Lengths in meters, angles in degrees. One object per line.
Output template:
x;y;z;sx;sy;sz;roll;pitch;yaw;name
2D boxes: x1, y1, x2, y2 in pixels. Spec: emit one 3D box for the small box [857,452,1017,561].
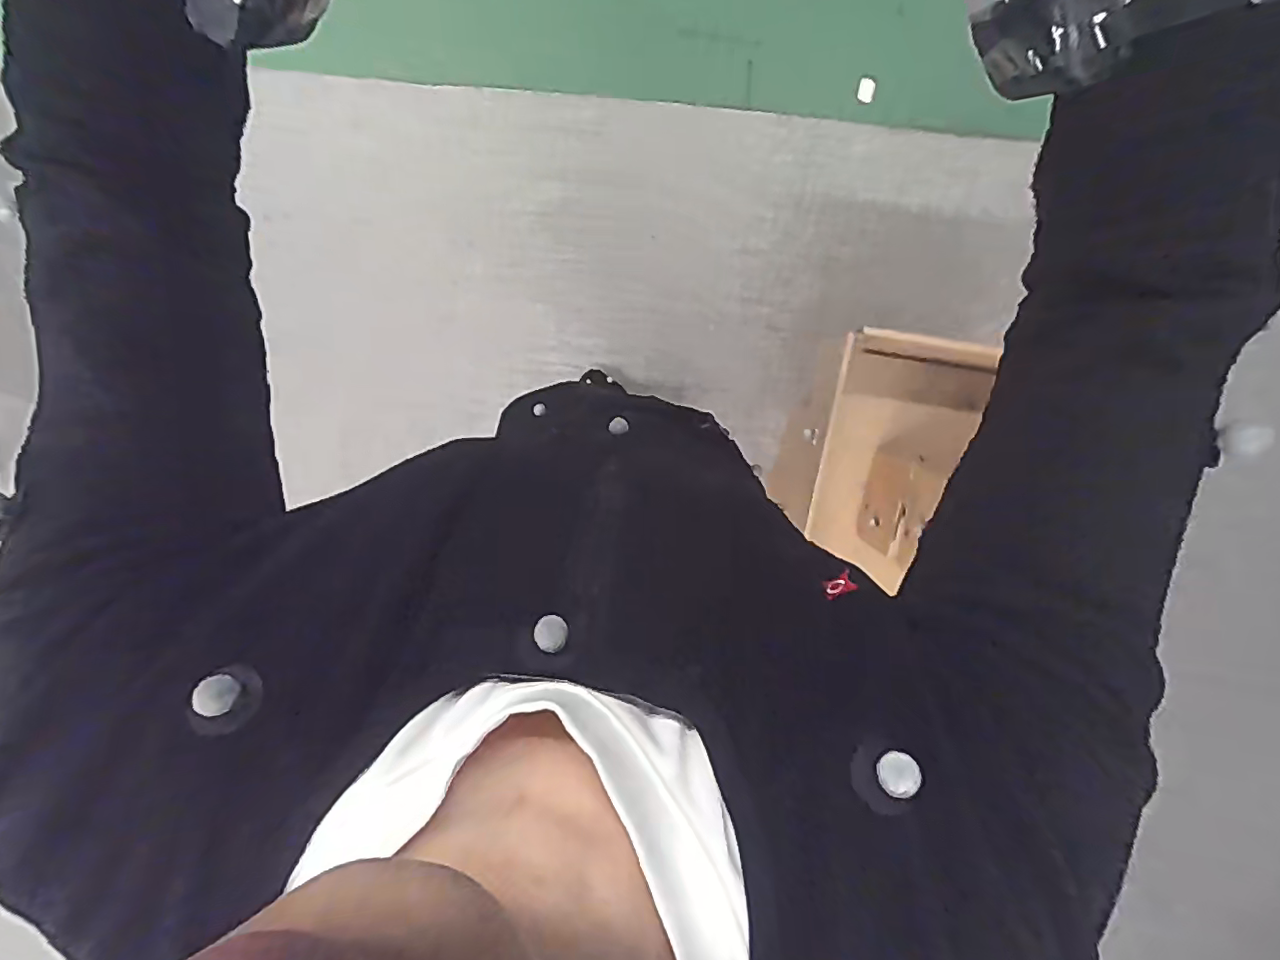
0.499;0.050;0.933;0.179;0.176;0.168;9;102;0;small box
